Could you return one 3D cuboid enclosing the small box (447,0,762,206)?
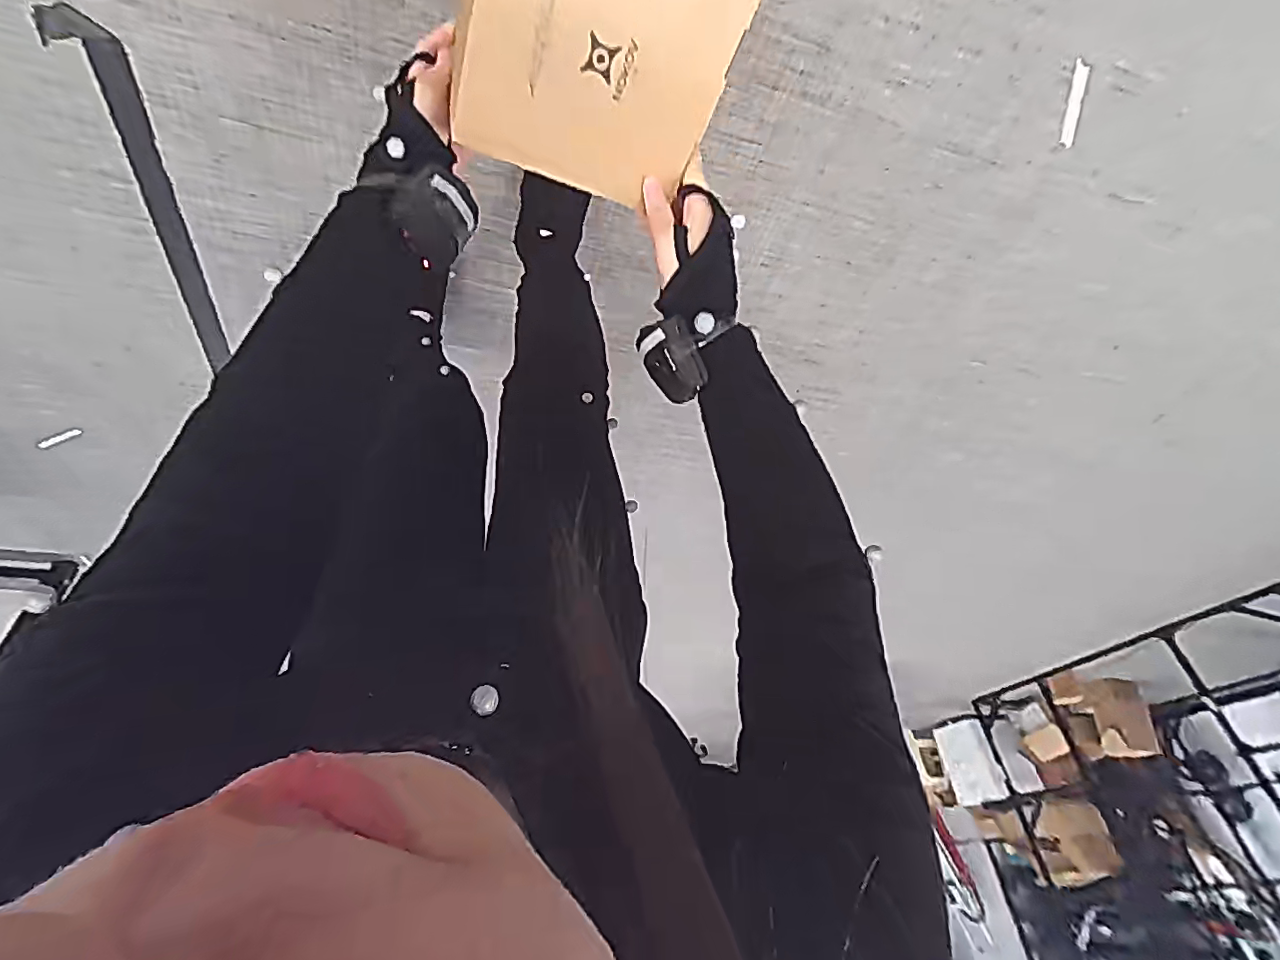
[{"bbox_3d":[-0.040,-0.348,0.407,0.179,0.176,0.168,7,135,-27],"label":"small box"}]
